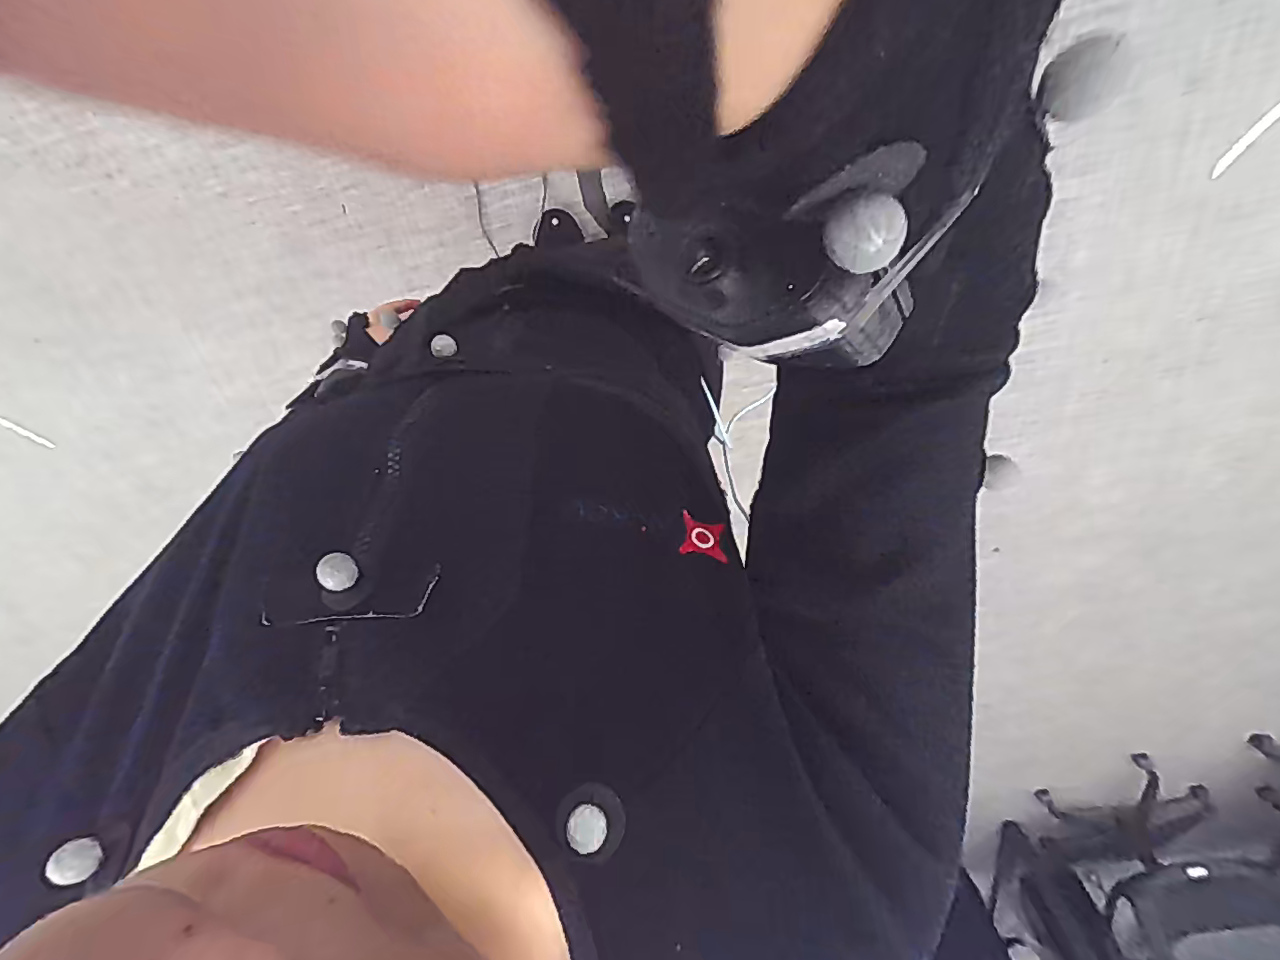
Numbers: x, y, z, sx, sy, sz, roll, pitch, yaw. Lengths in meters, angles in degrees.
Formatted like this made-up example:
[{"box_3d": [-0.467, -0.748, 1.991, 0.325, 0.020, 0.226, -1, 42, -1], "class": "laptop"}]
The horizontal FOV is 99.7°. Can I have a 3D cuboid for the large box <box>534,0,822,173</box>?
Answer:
[{"box_3d": [0.054, -0.728, 0.903, 0.408, 0.320, 0.320, -8, 119, 4], "class": "large box"}]
